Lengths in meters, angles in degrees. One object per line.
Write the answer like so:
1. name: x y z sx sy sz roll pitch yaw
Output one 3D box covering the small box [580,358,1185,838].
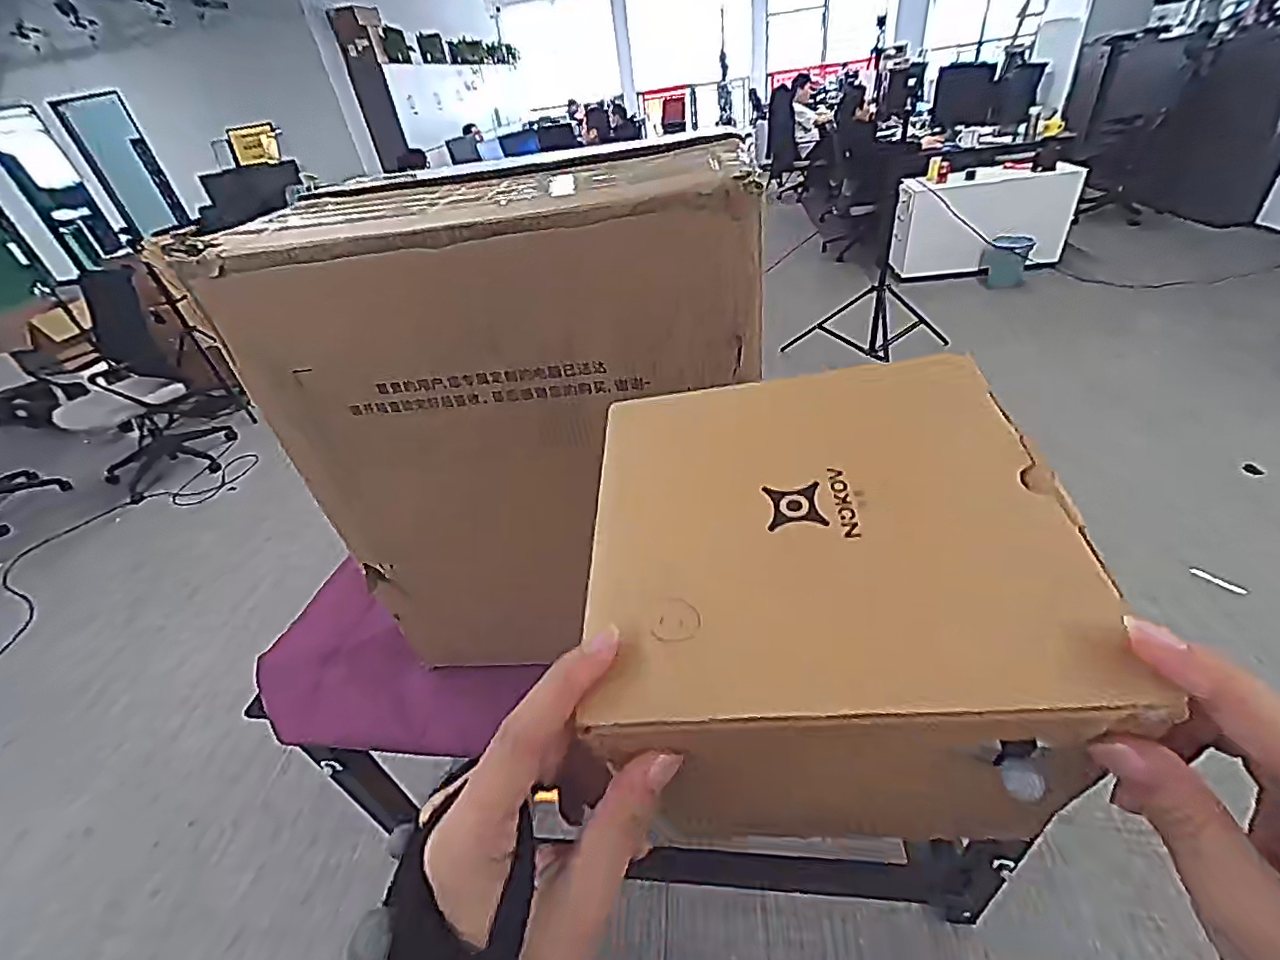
1. small box: 0.085 0.067 0.270 0.179 0.176 0.168 -7 46 10
